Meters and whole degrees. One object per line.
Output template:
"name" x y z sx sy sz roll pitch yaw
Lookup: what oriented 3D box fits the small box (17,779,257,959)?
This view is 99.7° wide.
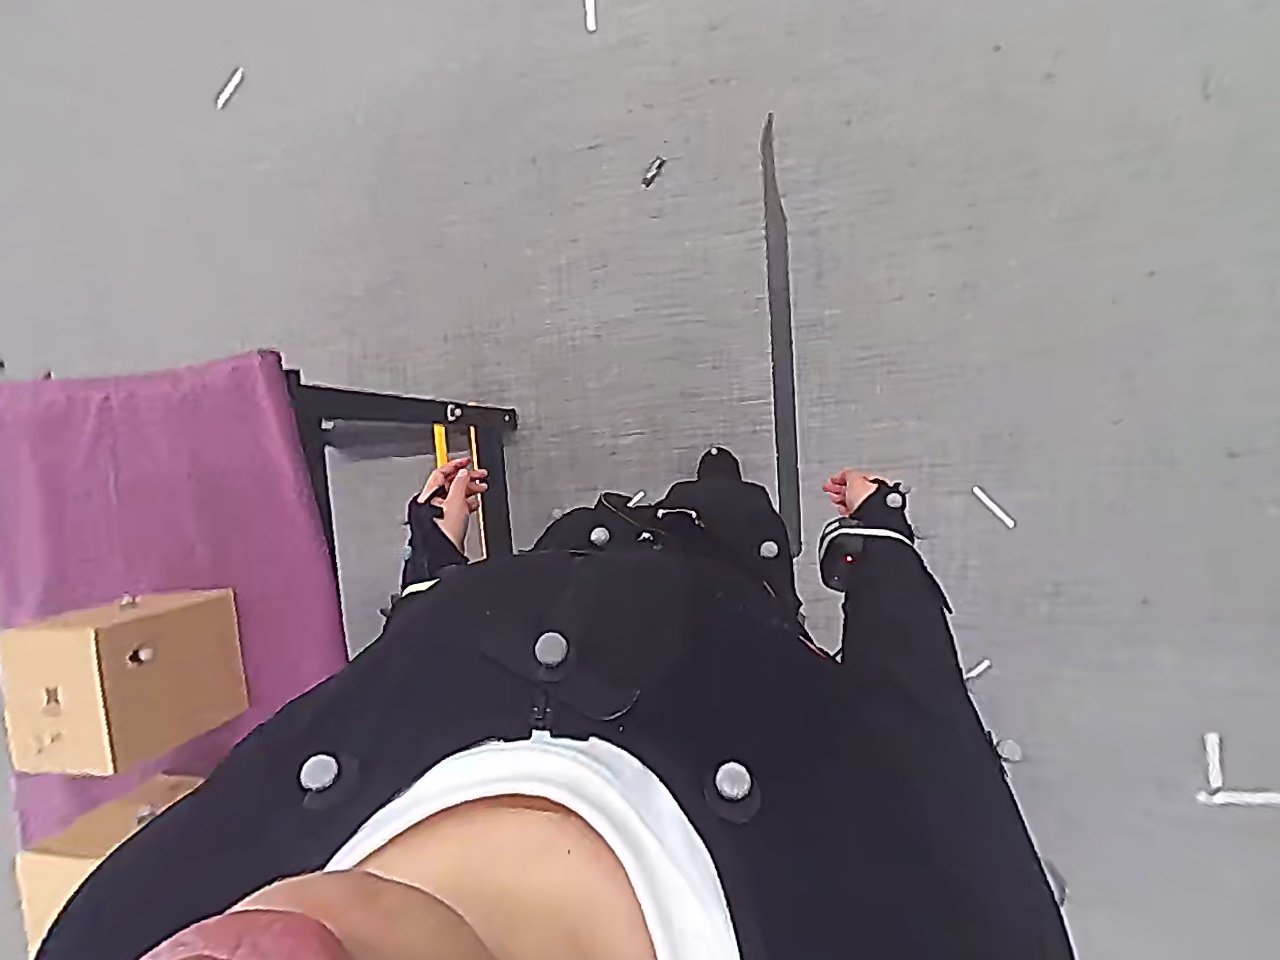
"small box" -0.662 0.535 0.730 0.168 0.176 0.179 -4 93 12

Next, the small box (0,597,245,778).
"small box" -0.665 0.257 0.709 0.168 0.176 0.179 -5 93 14
